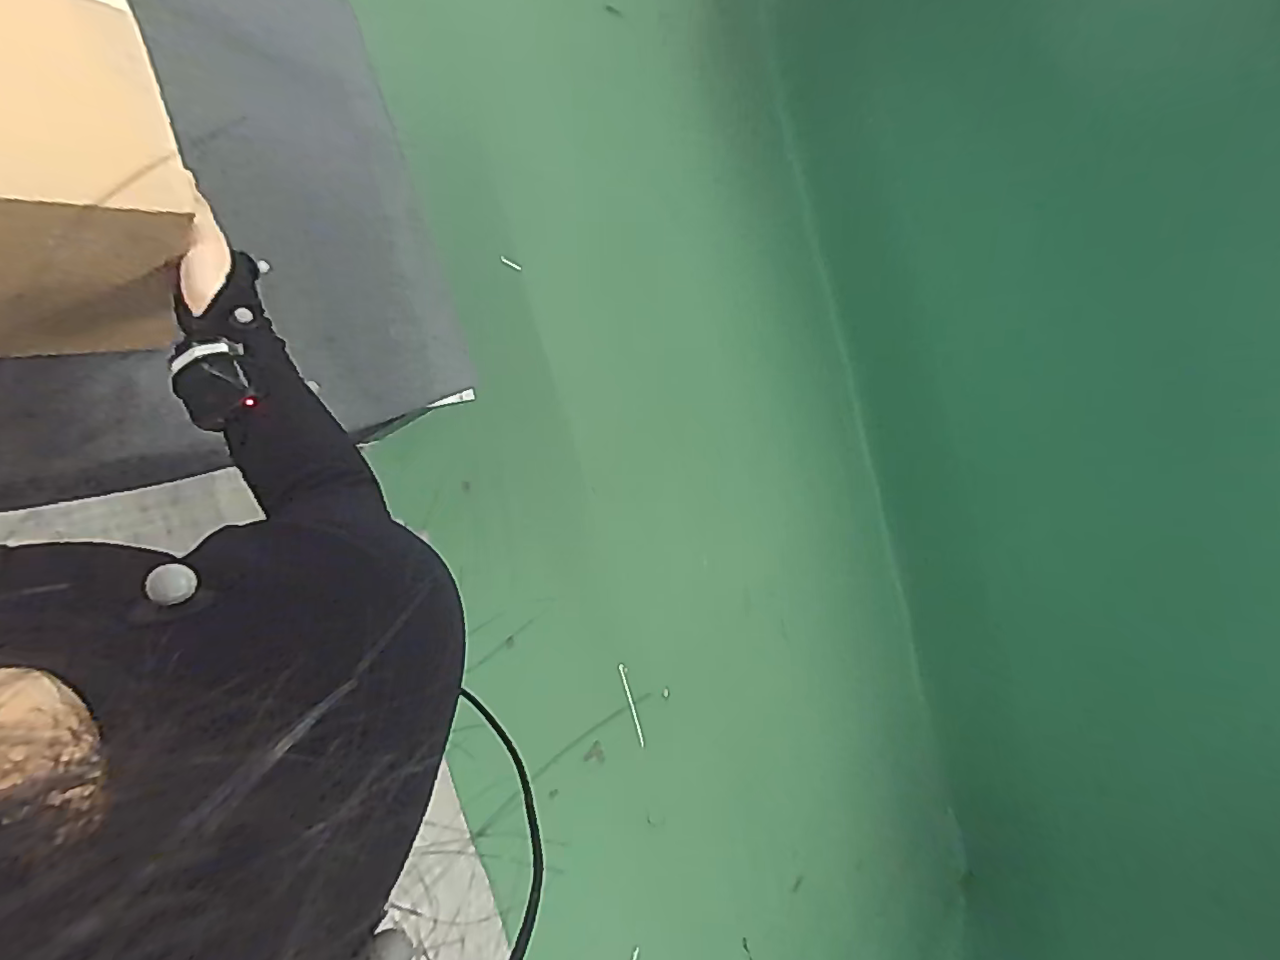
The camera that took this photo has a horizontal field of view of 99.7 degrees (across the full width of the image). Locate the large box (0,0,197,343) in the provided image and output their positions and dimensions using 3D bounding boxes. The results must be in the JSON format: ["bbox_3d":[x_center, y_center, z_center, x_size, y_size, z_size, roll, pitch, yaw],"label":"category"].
[{"bbox_3d":[-0.619,-0.285,0.373,0.408,0.320,0.320,-20,96,-45],"label":"large box"}]
